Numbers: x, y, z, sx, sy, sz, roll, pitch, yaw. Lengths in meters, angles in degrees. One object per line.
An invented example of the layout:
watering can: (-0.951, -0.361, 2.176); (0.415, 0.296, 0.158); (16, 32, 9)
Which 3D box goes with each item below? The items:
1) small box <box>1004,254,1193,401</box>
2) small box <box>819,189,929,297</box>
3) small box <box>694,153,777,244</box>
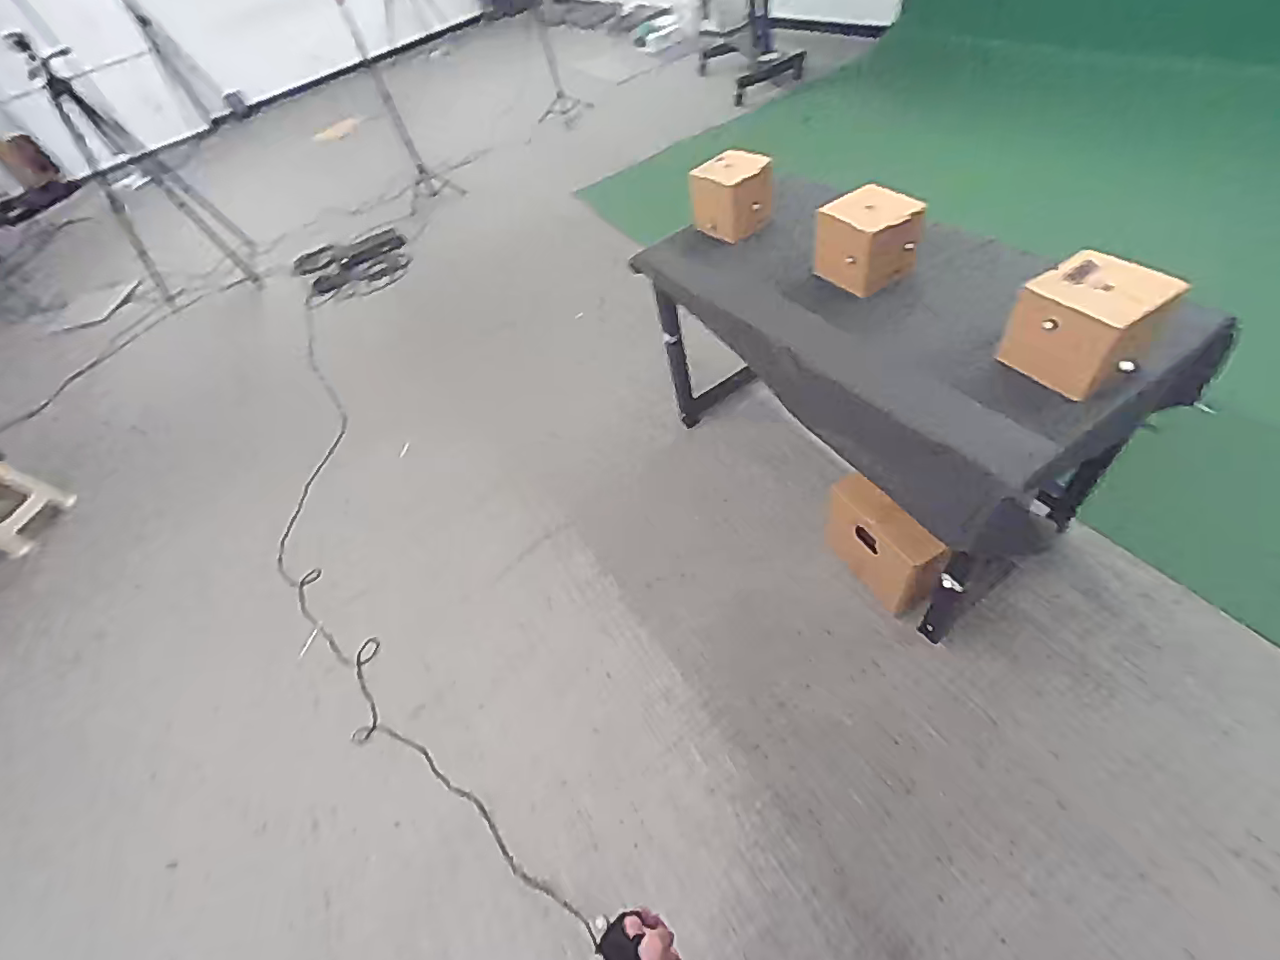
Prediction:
small box: (0.815, -0.276, 0.988); (0.168, 0.176, 0.179); (-29, 50, -9)
small box: (0.554, -0.566, 1.303); (0.168, 0.176, 0.179); (-29, 49, -11)
small box: (0.283, -0.818, 1.581); (0.168, 0.176, 0.179); (-36, 53, -15)
